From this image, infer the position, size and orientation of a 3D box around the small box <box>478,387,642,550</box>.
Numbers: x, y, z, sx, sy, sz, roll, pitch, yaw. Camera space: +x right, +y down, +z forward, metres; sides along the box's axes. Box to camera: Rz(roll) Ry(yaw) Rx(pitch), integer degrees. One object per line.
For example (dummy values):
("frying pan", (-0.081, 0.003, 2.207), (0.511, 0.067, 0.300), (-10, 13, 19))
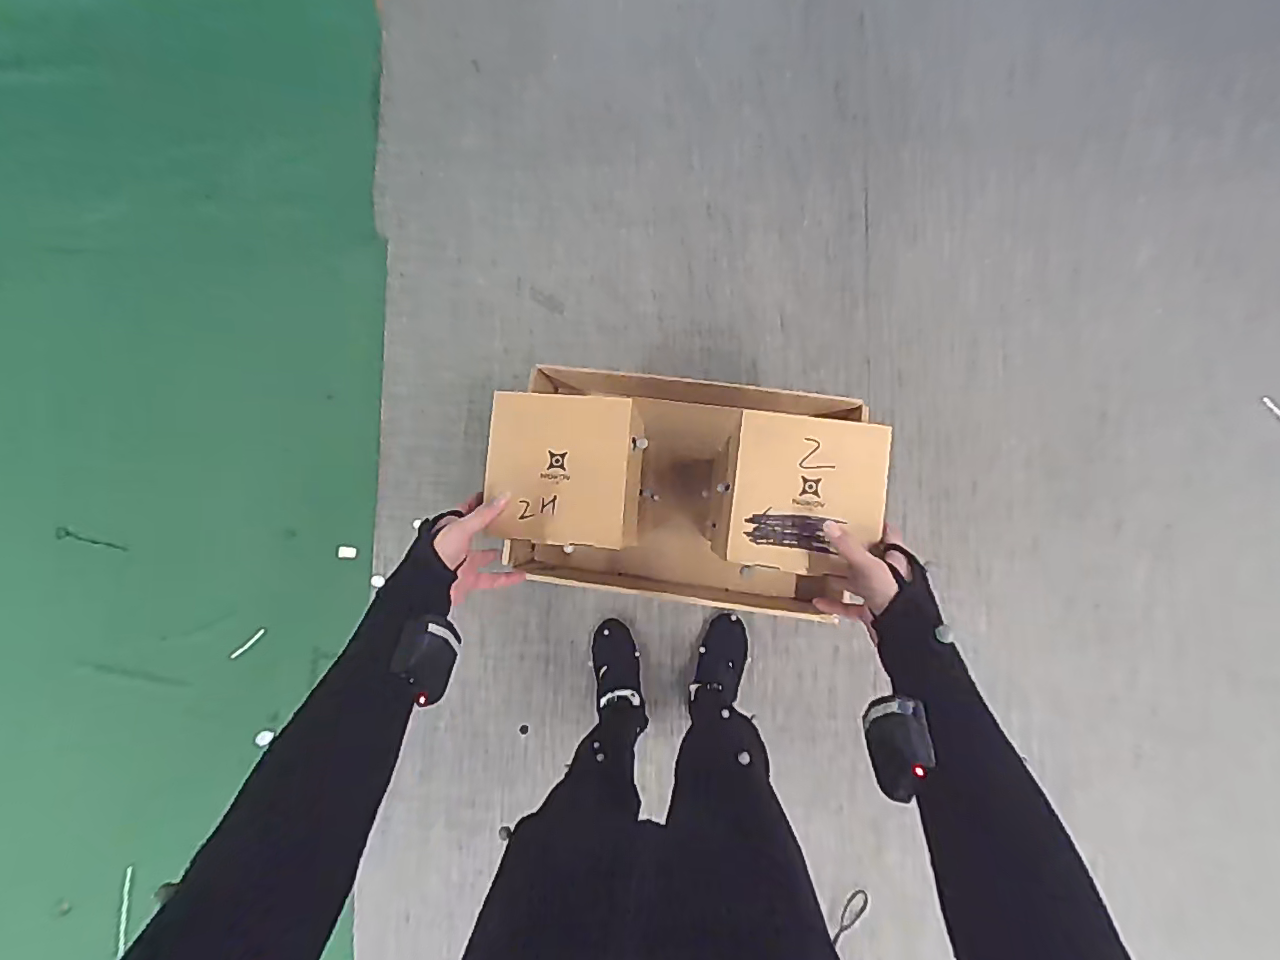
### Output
("small box", (-0.090, -0.008, 0.693), (0.168, 0.176, 0.179), (5, 86, 5))

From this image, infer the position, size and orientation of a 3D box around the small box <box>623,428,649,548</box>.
("small box", (-0.077, 0.011, 0.855), (0.168, 0.176, 0.179), (4, 86, 5))

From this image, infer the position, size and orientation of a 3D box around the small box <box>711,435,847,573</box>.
("small box", (0.202, 0.039, 0.828), (0.168, 0.176, 0.179), (7, 85, 5))
